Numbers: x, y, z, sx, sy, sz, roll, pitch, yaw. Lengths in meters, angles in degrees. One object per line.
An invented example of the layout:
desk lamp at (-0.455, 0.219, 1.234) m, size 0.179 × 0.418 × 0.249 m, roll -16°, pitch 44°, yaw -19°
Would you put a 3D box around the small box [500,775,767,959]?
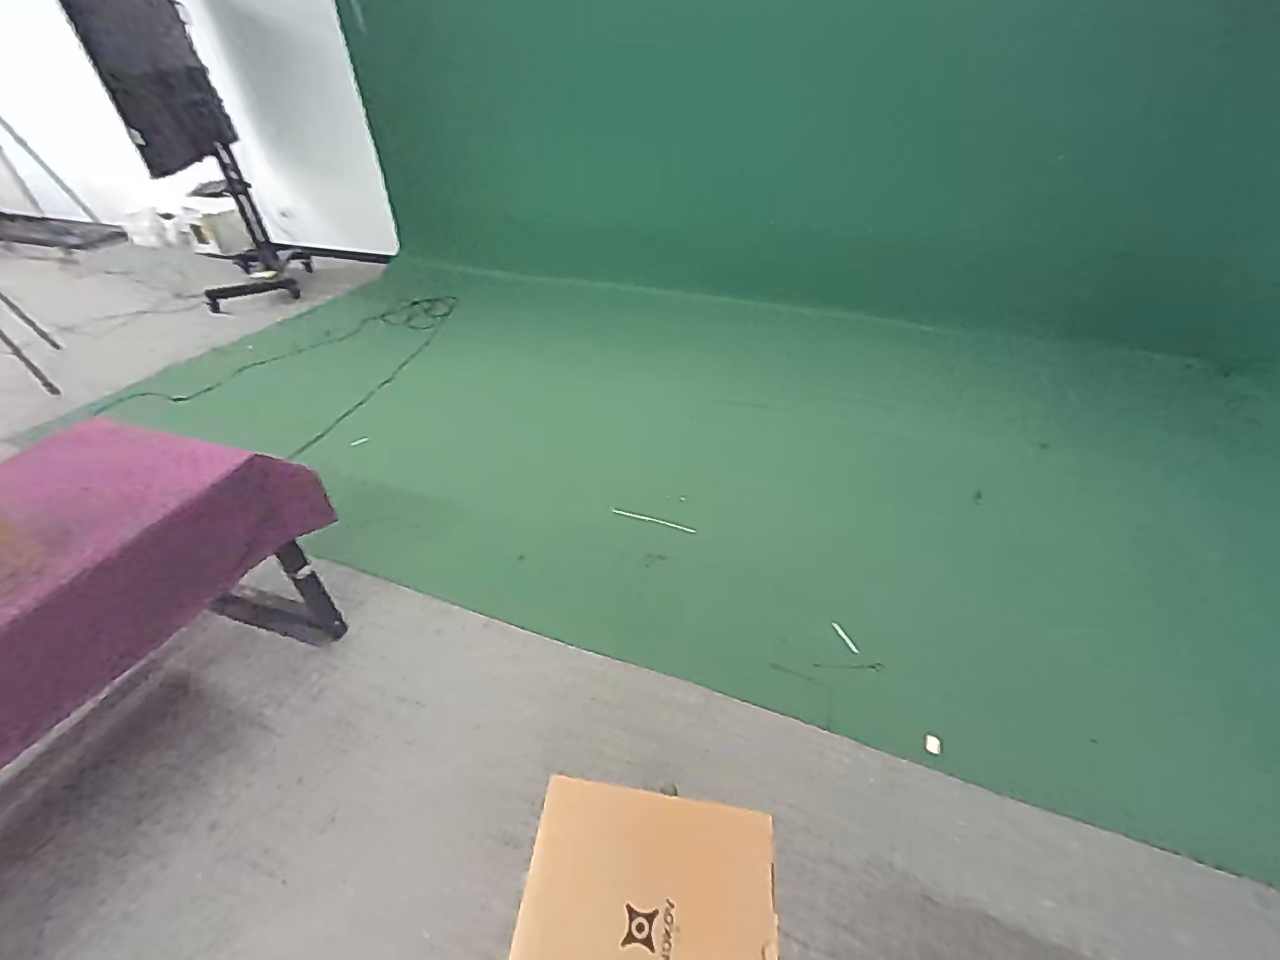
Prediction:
small box at (-0.006, 0.356, 0.423) m, size 0.179 × 0.176 × 0.168 m, roll 8°, pitch 46°, yaw 2°
